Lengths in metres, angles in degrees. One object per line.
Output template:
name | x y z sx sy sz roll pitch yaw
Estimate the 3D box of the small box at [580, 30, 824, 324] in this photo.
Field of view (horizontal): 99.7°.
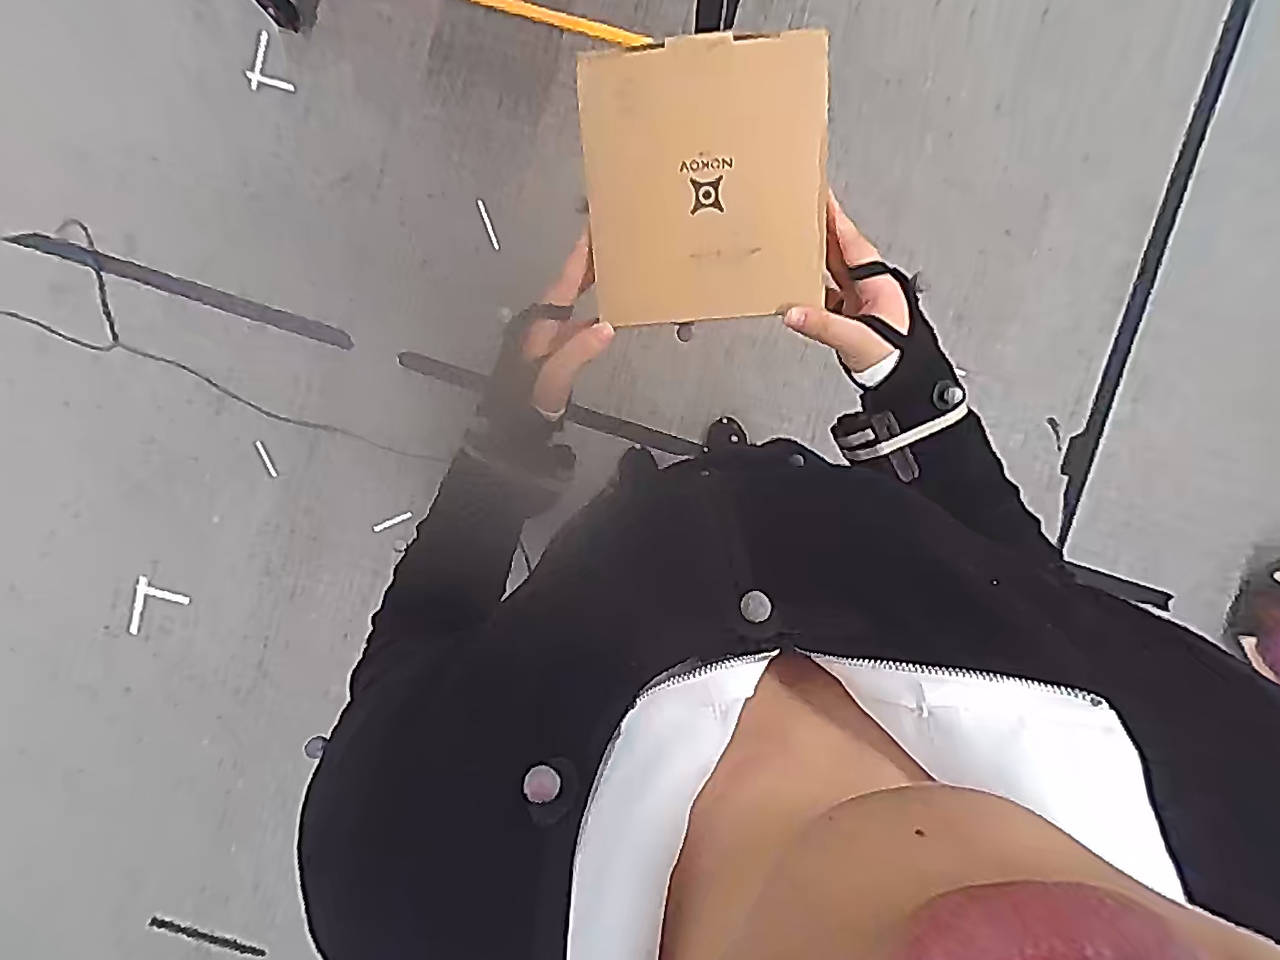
small box | 0.046 -0.228 0.455 0.168 0.176 0.179 -4 106 2
